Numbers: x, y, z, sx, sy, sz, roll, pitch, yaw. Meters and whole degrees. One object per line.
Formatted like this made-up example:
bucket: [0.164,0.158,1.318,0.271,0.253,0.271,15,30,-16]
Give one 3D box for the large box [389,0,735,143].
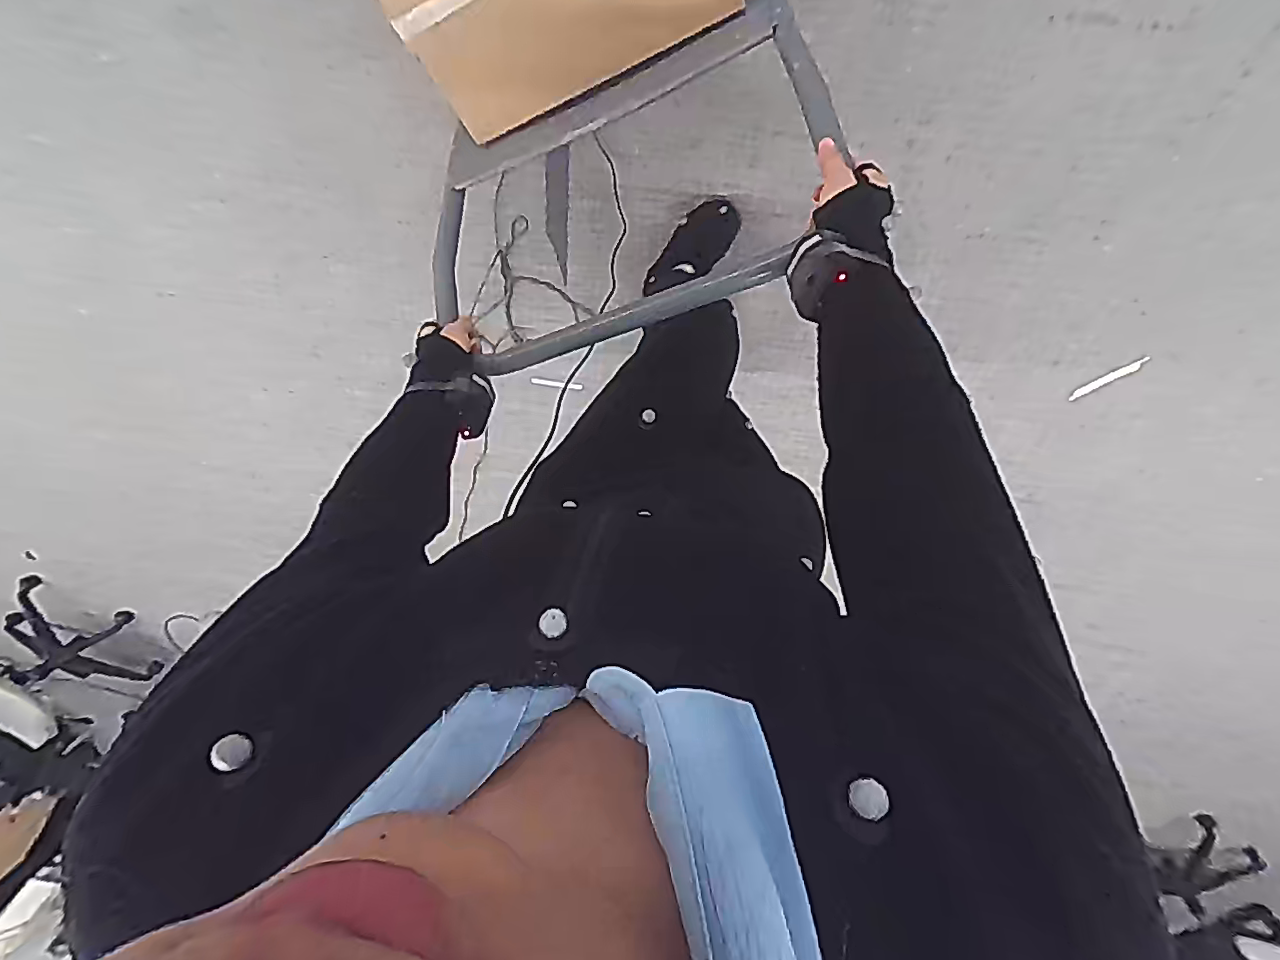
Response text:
large box: [-0.122,-0.744,0.698,0.408,0.320,0.320,-17,146,18]
